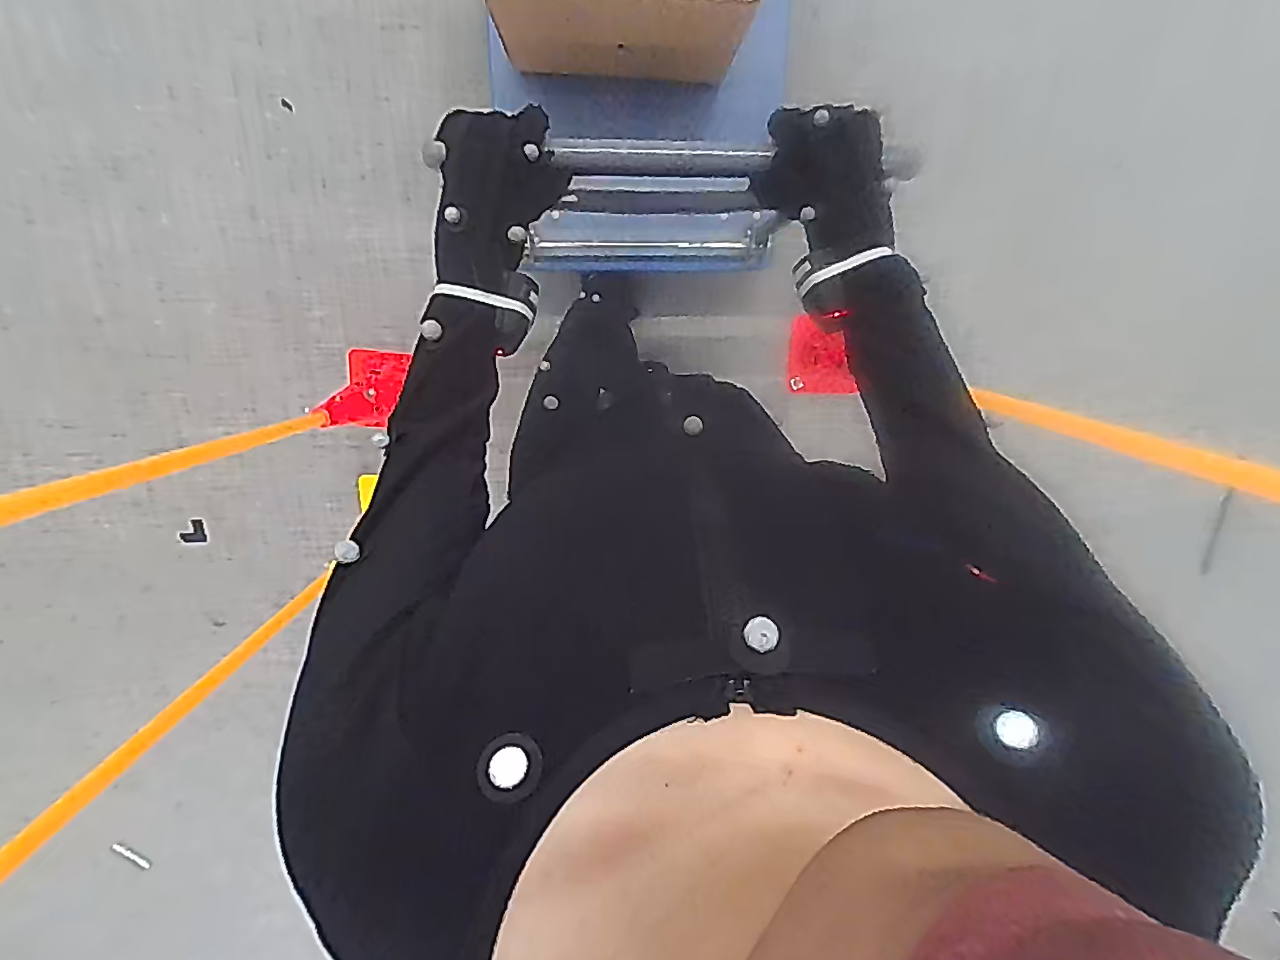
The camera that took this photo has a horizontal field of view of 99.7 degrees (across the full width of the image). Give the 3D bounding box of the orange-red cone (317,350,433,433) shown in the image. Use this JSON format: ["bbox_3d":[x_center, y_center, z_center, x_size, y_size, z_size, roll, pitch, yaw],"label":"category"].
[{"bbox_3d":[-0.626,-0.177,1.227,0.198,0.360,0.199,6,106,-5],"label":"orange-red cone"}]

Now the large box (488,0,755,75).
[{"bbox_3d":[-0.029,-0.890,0.868,0.408,0.320,0.320,1,108,-2],"label":"large box"}]

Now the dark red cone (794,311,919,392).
[{"bbox_3d":[0.504,-0.274,1.222,0.201,0.394,0.202,-2,108,-4],"label":"dark red cone"}]
